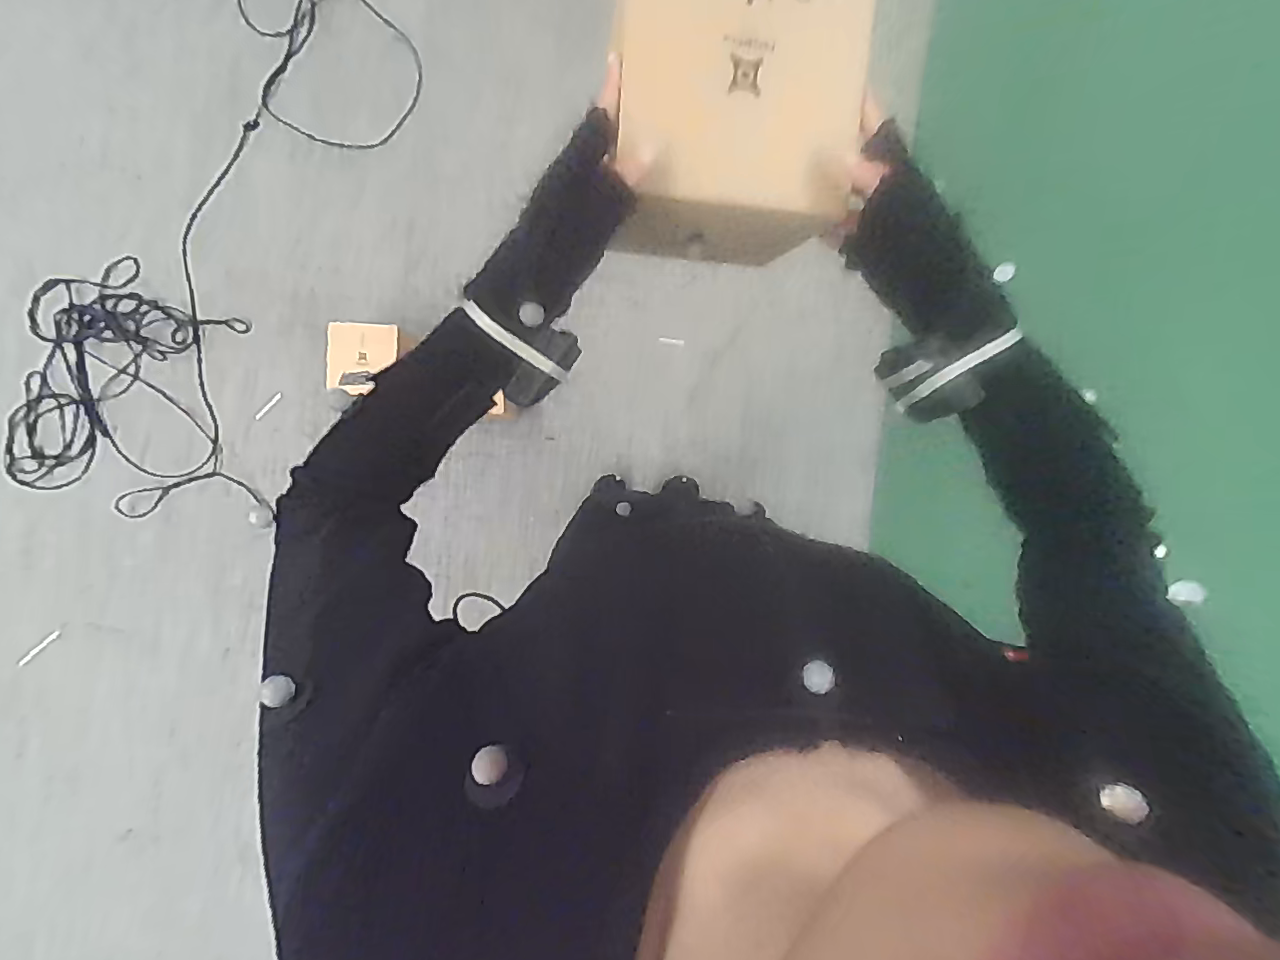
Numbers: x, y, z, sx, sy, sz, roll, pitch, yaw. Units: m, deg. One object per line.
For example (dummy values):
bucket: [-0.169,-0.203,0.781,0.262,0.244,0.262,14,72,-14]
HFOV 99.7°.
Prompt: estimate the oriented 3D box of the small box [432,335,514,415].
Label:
small box: [-0.417,-0.260,1.369,0.168,0.176,0.179,0,93,-2]

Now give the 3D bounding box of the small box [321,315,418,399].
small box: [-0.669,-0.300,1.353,0.168,0.176,0.179,2,91,-3]
